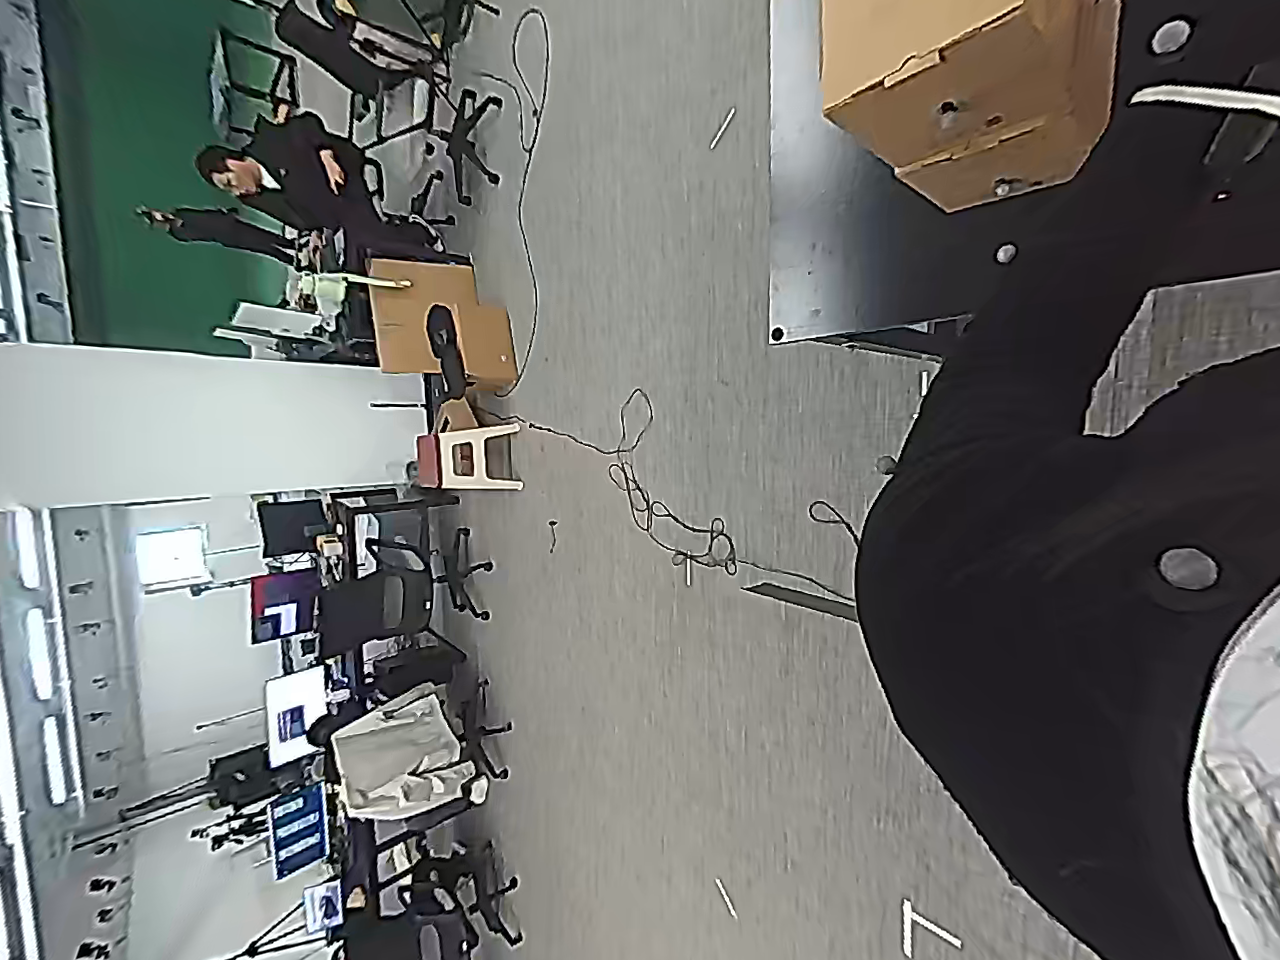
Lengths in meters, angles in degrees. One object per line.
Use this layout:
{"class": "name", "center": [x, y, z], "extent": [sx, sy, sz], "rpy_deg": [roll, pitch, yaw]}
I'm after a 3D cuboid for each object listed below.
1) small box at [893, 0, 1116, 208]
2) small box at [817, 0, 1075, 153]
{"class": "small box", "center": [0.406, -0.434, 0.603], "extent": [0.168, 0.176, 0.179], "rpy_deg": [8, 100, 48]}
{"class": "small box", "center": [0.281, -0.432, 0.496], "extent": [0.168, 0.176, 0.179], "rpy_deg": [3, 97, 48]}
